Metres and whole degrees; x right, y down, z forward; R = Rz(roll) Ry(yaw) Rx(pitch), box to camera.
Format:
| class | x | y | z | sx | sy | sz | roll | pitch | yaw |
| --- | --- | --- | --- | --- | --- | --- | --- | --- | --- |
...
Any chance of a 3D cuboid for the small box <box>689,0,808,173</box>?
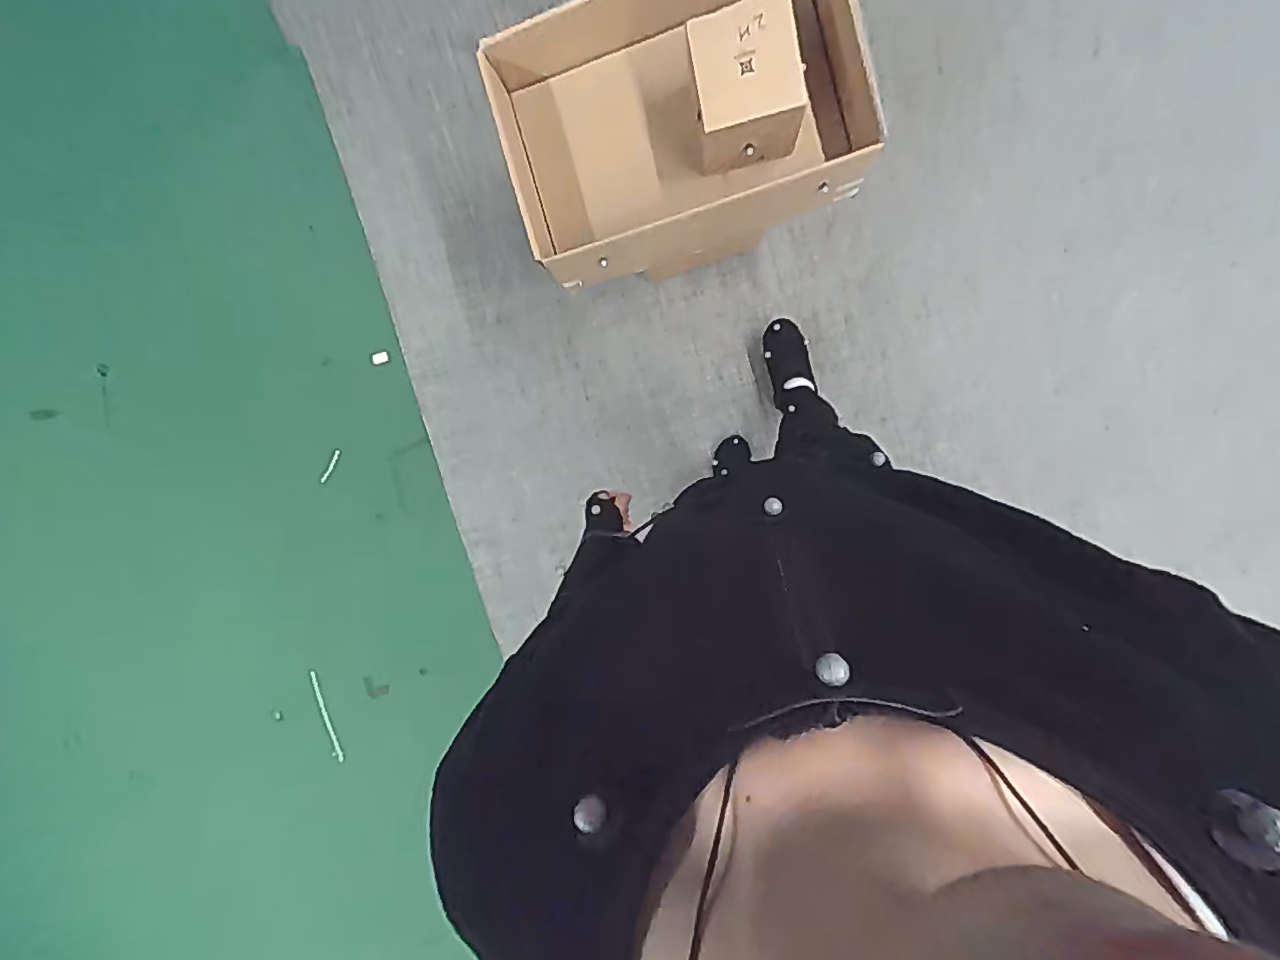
| class | x | y | z | sx | sy | sz | roll | pitch | yaw |
| --- | --- | --- | --- | --- | --- | --- | --- | --- | --- |
| small box | 0.183 | -0.658 | 0.929 | 0.168 | 0.176 | 0.179 | -10 | 94 | 9 |
